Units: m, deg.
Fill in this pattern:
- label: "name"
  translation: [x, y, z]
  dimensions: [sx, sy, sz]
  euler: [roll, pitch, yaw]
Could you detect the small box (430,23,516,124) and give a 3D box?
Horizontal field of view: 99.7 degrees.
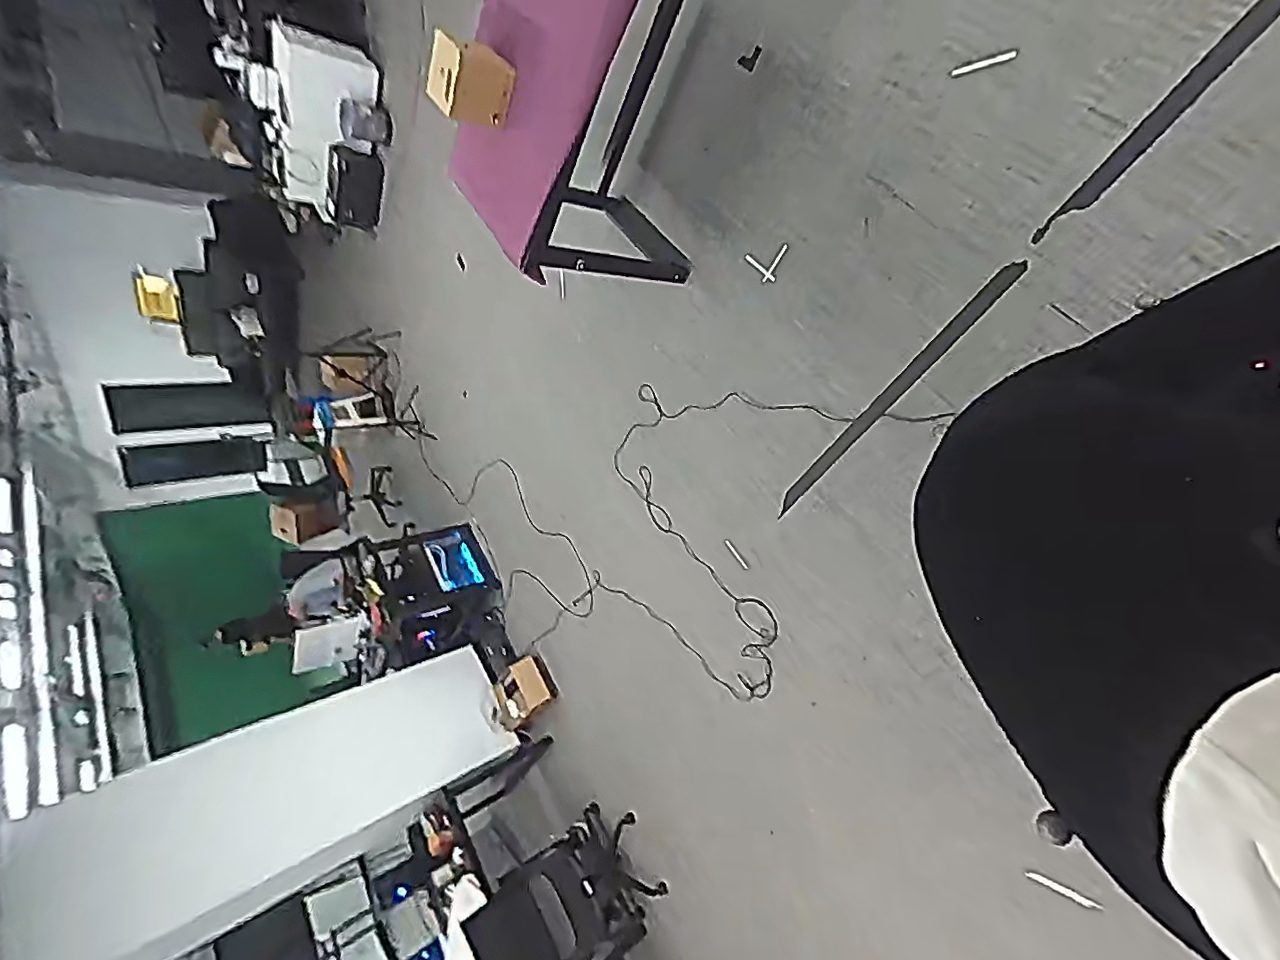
- label: "small box"
  translation: [-0.481, -1.159, 1.557]
  dimensions: [0.179, 0.176, 0.168]
  euler: [54, 134, 25]
